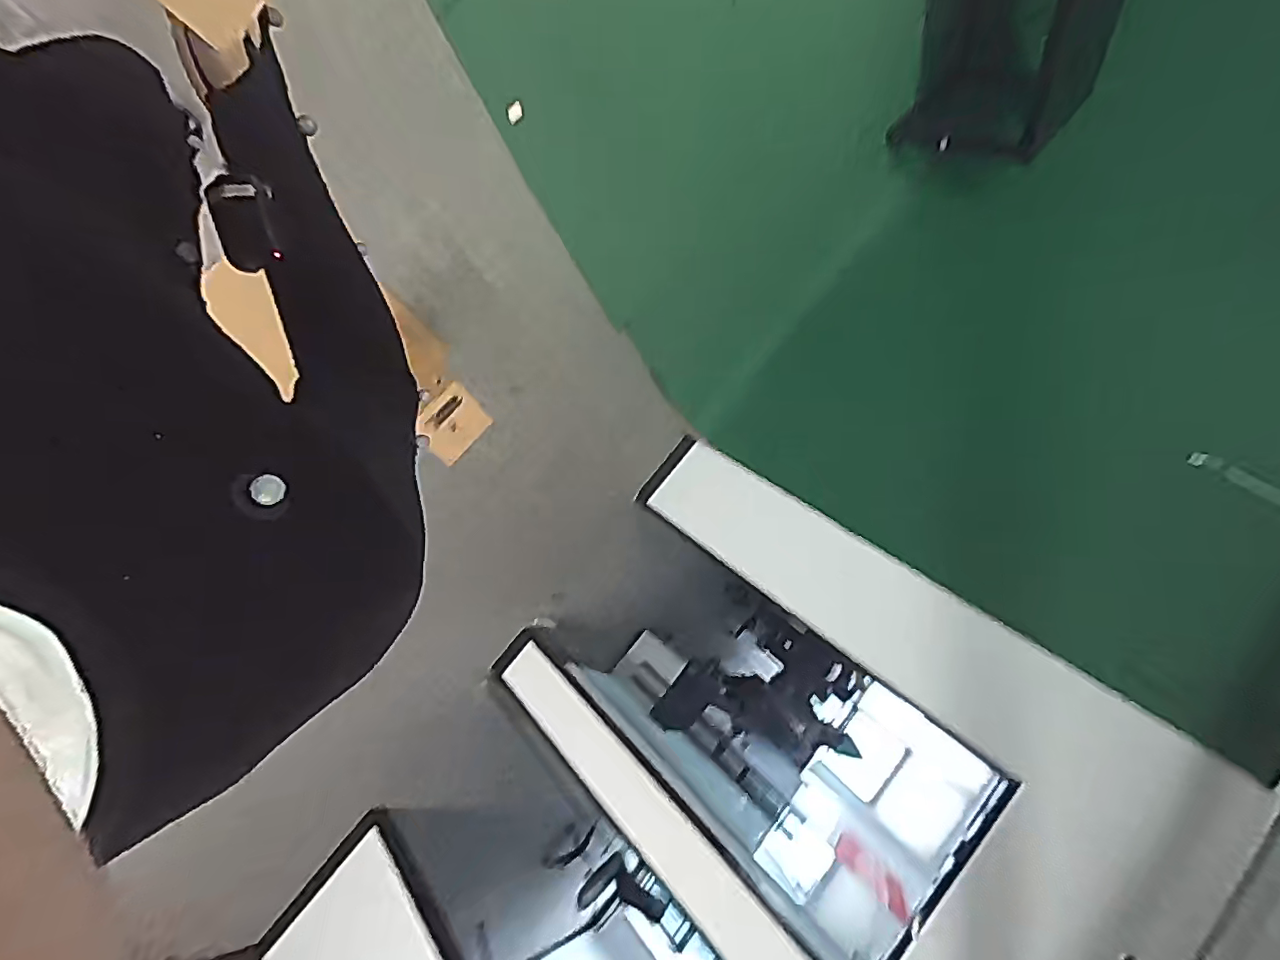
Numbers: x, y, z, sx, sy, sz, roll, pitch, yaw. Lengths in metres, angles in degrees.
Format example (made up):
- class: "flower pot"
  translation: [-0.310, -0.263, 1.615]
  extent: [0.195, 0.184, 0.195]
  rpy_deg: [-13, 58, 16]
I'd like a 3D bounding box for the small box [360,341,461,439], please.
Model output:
- class: "small box"
  translation: [-0.642, -0.251, 1.497]
  extent: [0.179, 0.176, 0.168]
  rpy_deg: [-49, 147, -9]
